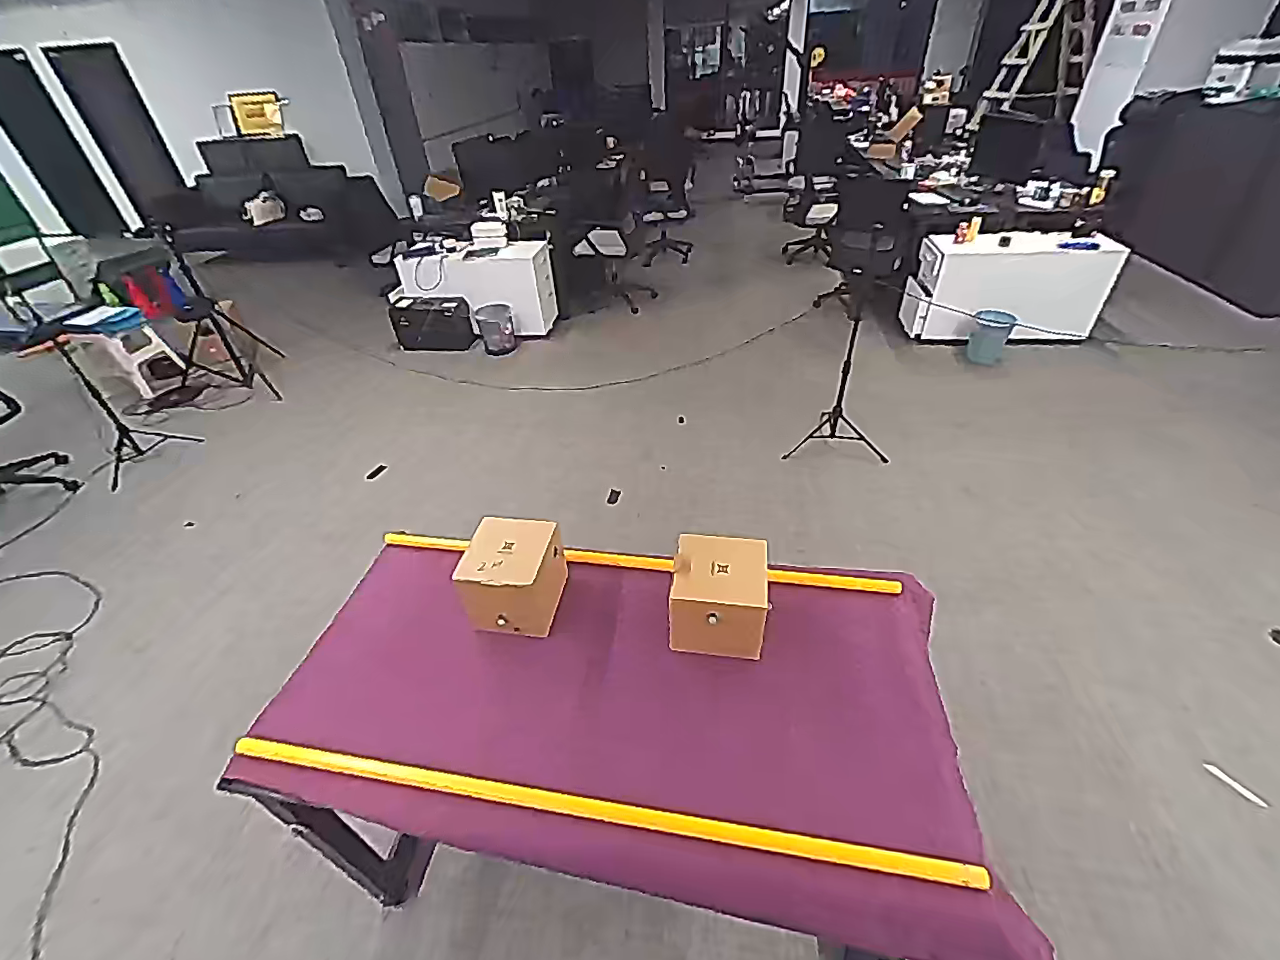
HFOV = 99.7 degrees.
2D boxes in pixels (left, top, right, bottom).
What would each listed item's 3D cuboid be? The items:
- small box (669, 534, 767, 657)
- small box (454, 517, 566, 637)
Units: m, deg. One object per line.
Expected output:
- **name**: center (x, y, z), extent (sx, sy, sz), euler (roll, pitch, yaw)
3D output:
- **small box**: center (0.155, 0.230, 1.071), extent (0.179, 0.176, 0.168), euler (3, 40, 10)
- **small box**: center (-0.262, 0.202, 1.139), extent (0.168, 0.176, 0.179), euler (4, 41, 10)
